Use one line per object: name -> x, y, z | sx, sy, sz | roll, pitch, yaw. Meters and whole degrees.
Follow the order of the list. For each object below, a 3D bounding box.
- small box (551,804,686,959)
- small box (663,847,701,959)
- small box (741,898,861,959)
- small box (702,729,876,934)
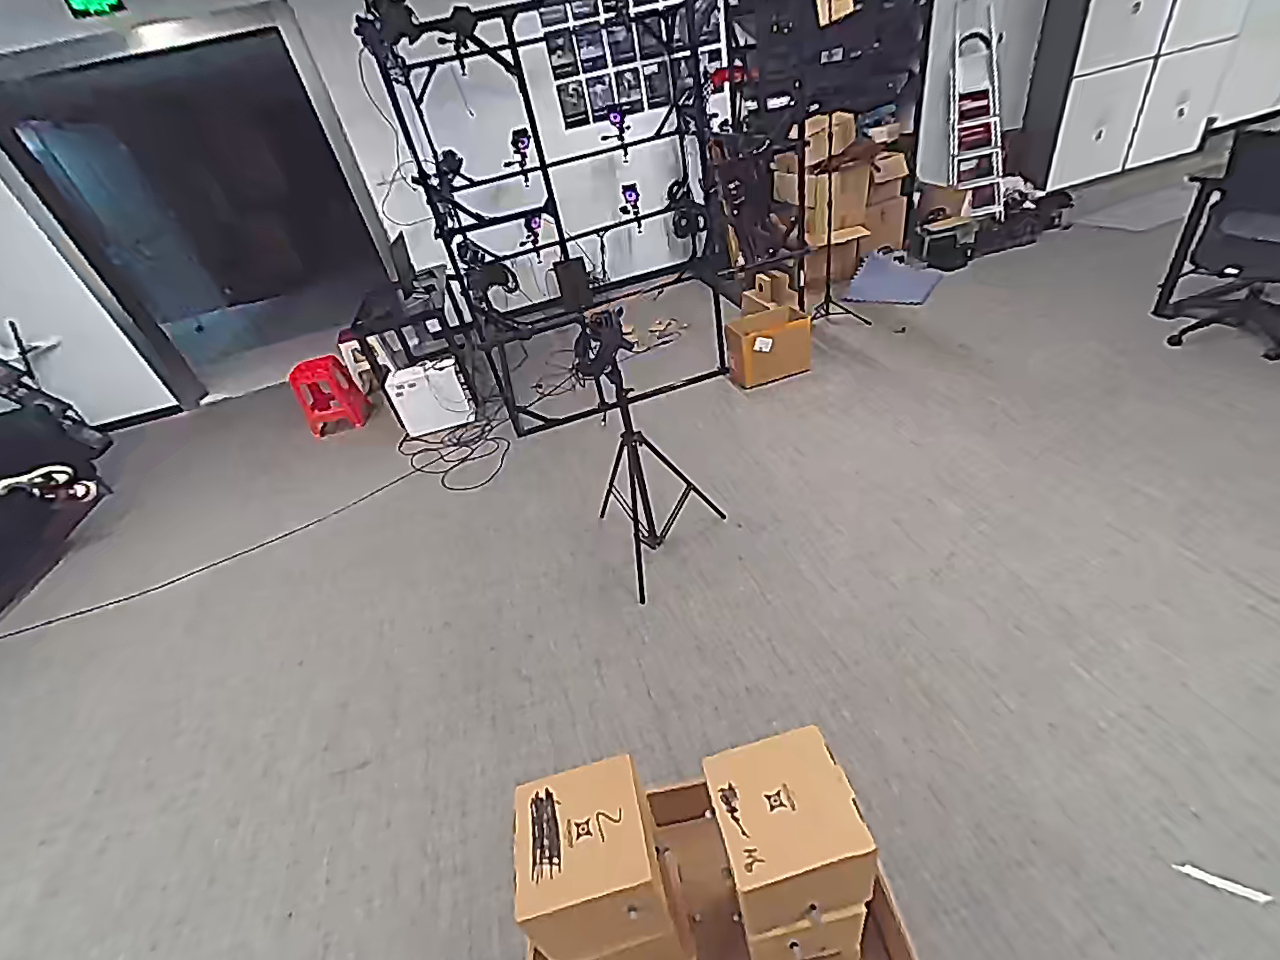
small box -> -0.036, 0.661, 0.856 | 0.168, 0.176, 0.179 | -17, 36, -3
small box -> 0.003, 0.790, 0.951 | 0.179, 0.176, 0.168 | -14, 36, -2
small box -> 0.225, 0.615, 0.840 | 0.168, 0.176, 0.179 | -14, 35, -1
small box -> 0.197, 0.483, 0.747 | 0.179, 0.176, 0.168 | -14, 35, -3
